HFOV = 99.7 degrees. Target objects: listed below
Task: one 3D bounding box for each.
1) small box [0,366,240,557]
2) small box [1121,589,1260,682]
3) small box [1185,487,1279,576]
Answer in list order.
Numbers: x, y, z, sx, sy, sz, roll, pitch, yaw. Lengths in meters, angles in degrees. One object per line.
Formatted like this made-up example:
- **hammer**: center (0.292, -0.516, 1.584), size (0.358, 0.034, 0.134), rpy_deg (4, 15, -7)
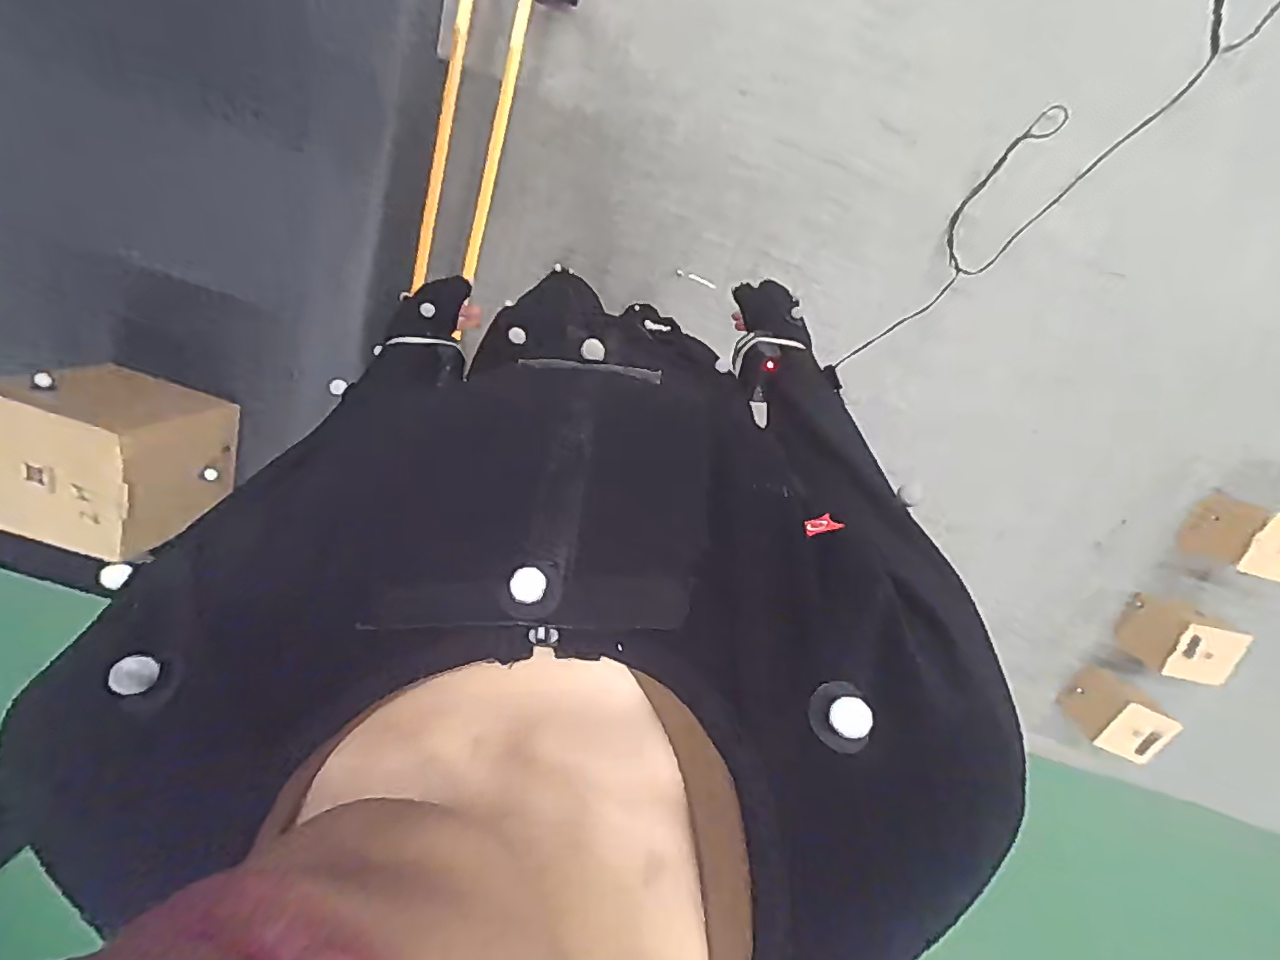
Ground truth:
- **small box**: center (-0.647, -0.035, 0.667), size (0.179, 0.176, 0.168), rpy_deg (18, 109, -3)
- **small box**: center (1.493, 0.419, 1.482), size (0.179, 0.176, 0.168), rpy_deg (11, 110, -1)
- **small box**: center (1.582, 0.132, 1.379), size (0.179, 0.176, 0.168), rpy_deg (15, 109, -1)
